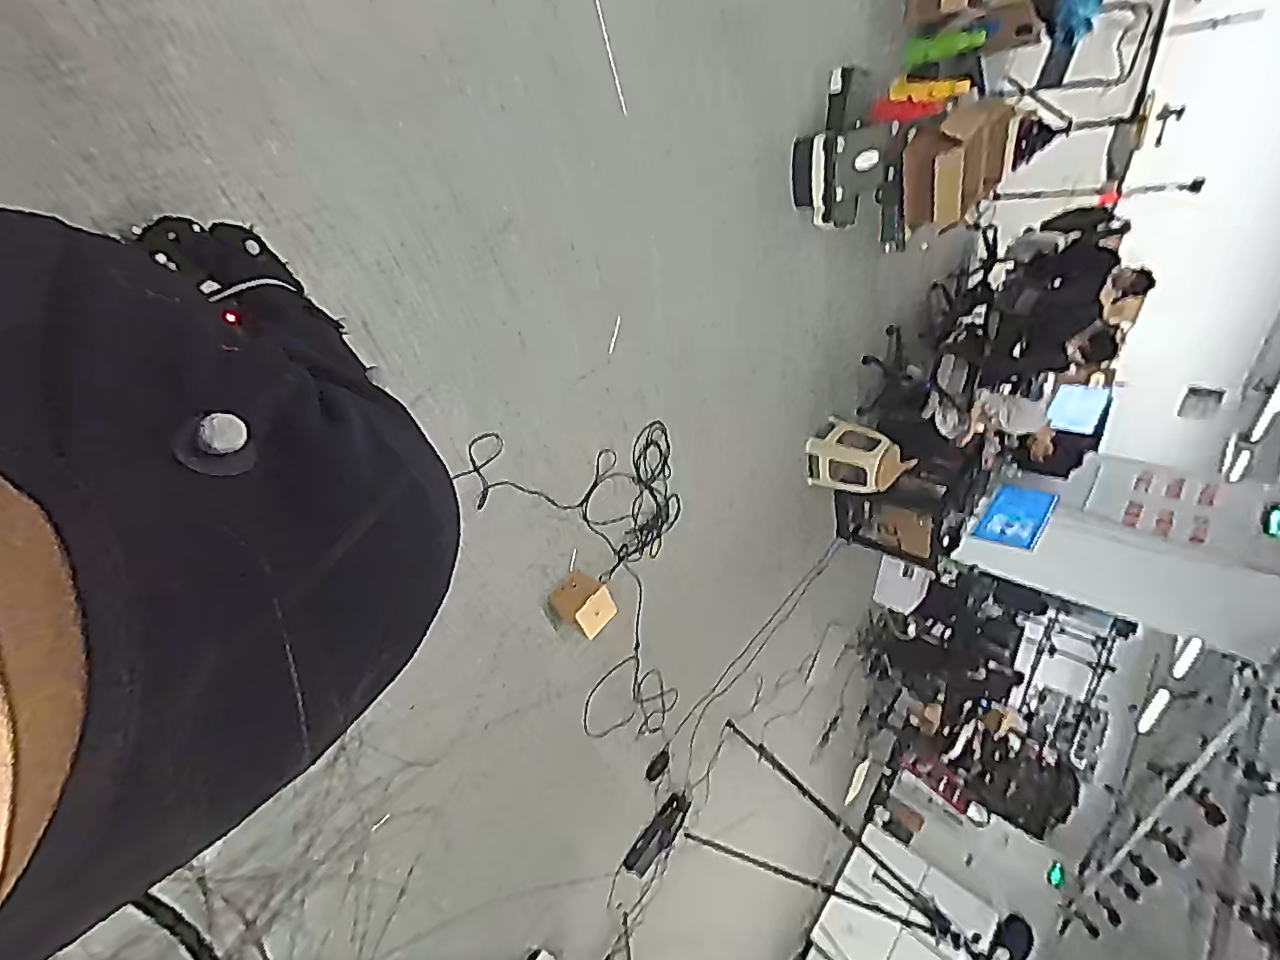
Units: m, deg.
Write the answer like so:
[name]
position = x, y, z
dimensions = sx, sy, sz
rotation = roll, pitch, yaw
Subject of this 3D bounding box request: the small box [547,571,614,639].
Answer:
[small box]
position = -0.238, 0.492, 2.151
dimensions = 0.168, 0.176, 0.179
rotation = -44, 133, -28
